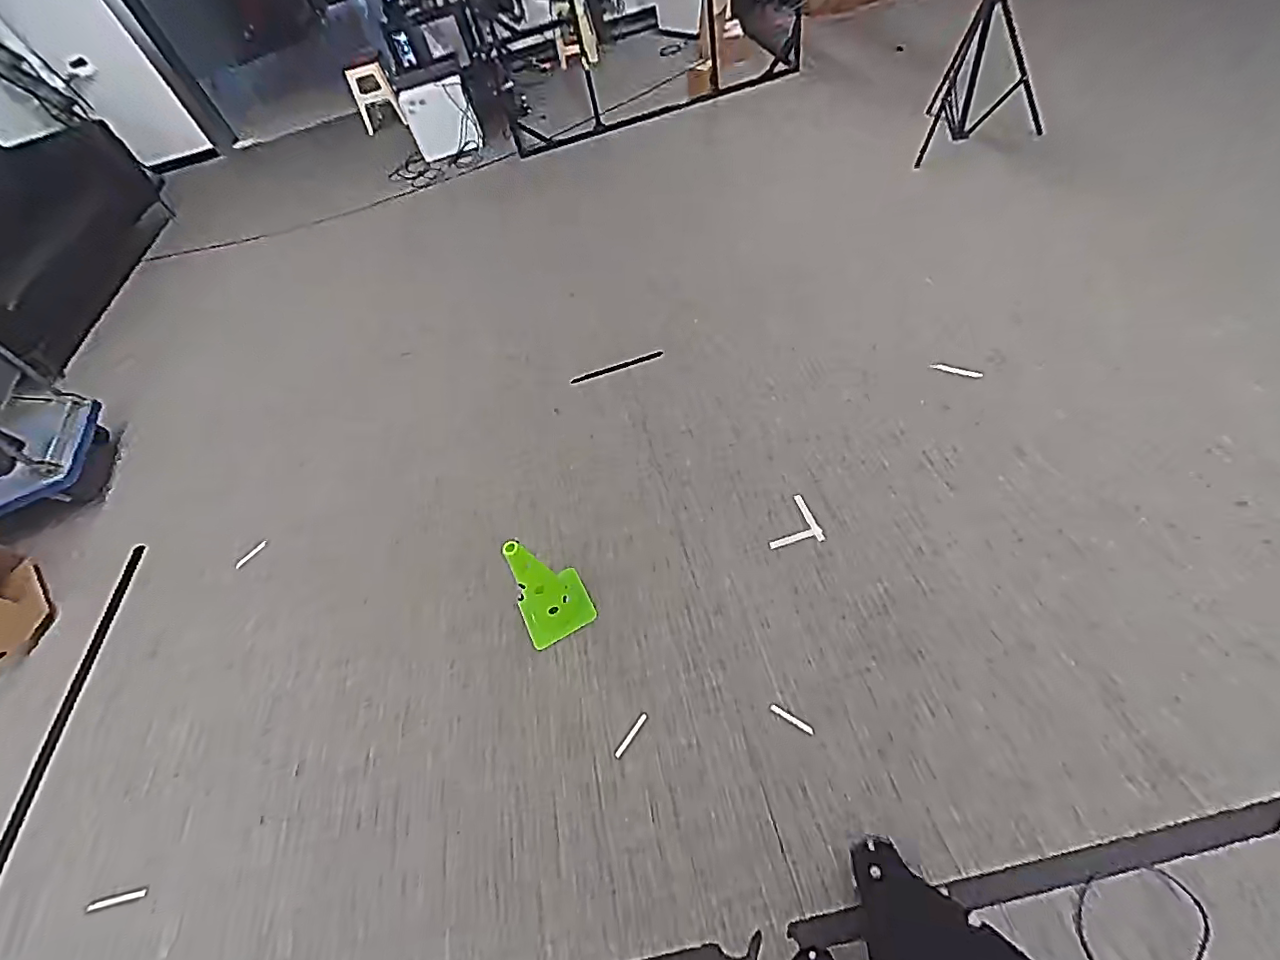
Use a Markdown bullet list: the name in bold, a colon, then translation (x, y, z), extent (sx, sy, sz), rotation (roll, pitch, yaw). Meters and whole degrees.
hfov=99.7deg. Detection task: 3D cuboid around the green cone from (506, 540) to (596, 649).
- **green cone**: translation (-0.283, 0.276, 1.472), extent (0.202, 0.368, 0.200), rotation (-28, 52, -9)
